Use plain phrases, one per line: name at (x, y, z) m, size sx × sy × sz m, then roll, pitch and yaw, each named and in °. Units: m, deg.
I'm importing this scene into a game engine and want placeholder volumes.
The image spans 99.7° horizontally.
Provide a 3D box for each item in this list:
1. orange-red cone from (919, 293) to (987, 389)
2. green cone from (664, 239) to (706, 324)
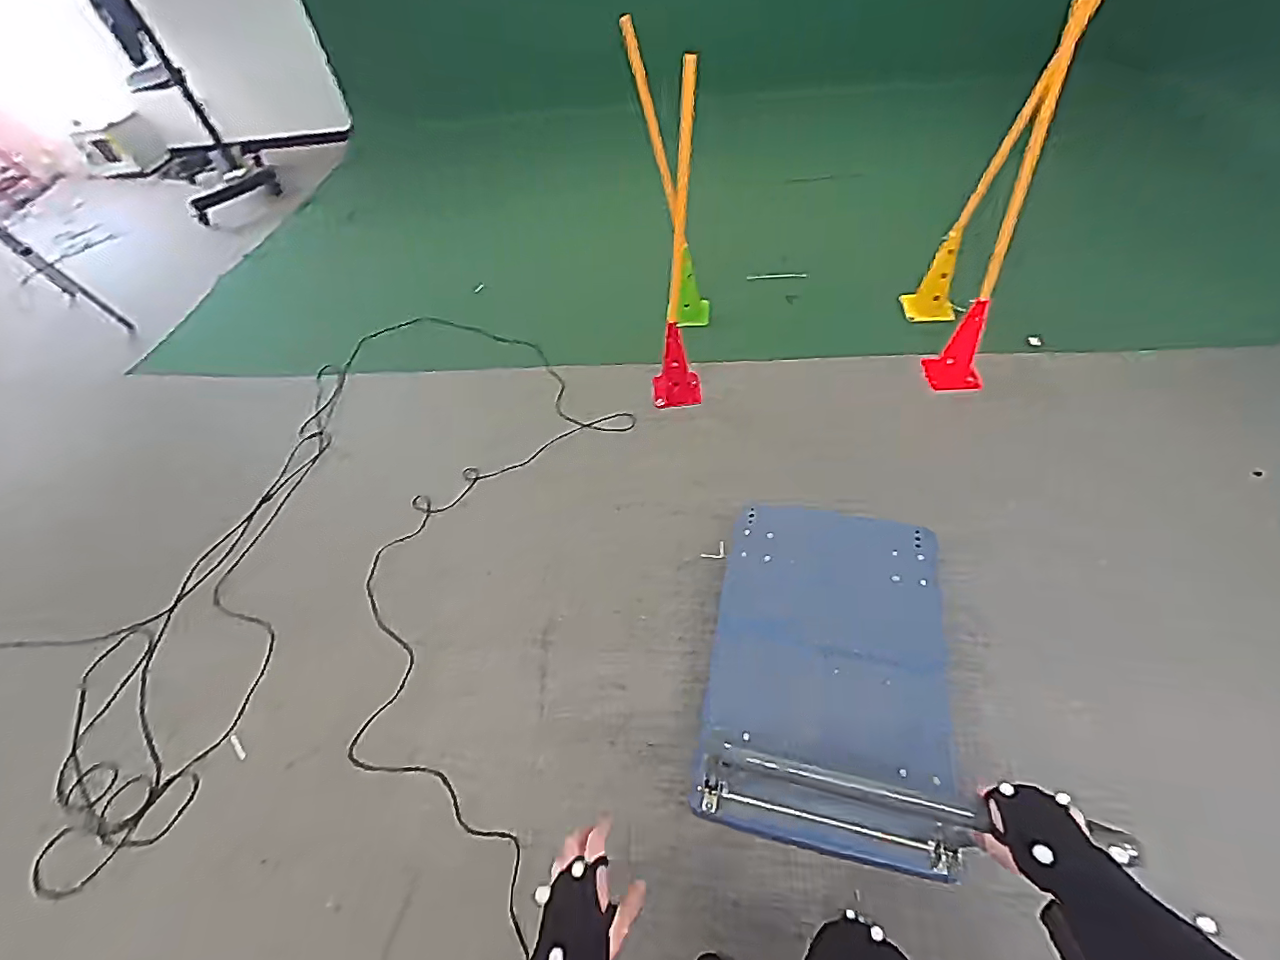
orange-red cone at (1.240, -0.549, 2.071) m, size 0.198 × 0.360 × 0.199 m, roll 1°, pitch 50°, yaw 7°
green cone at (0.202, -0.933, 2.509) m, size 0.200 × 0.368 × 0.202 m, roll -1°, pitch 51°, yaw 8°
